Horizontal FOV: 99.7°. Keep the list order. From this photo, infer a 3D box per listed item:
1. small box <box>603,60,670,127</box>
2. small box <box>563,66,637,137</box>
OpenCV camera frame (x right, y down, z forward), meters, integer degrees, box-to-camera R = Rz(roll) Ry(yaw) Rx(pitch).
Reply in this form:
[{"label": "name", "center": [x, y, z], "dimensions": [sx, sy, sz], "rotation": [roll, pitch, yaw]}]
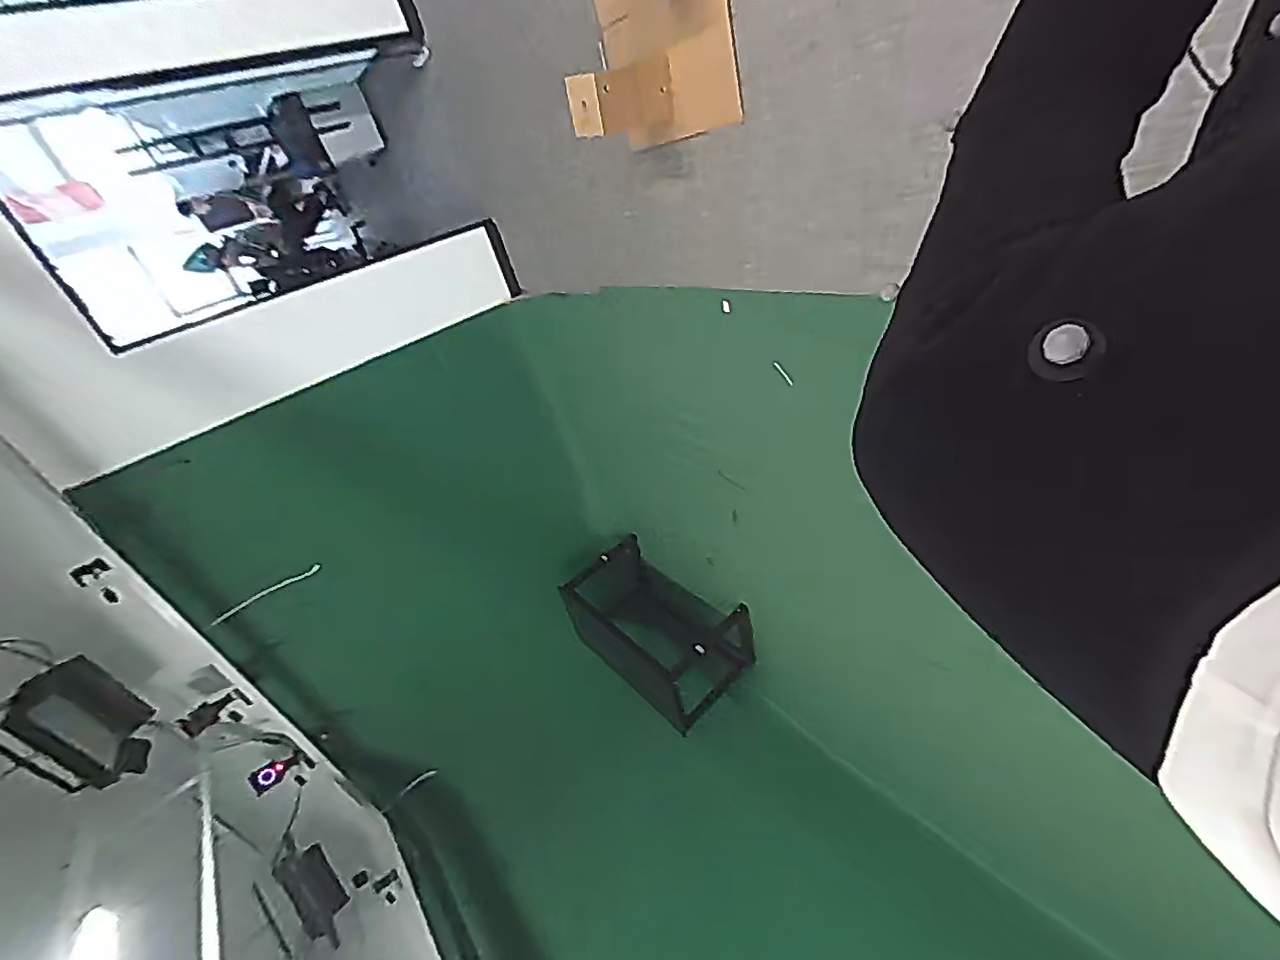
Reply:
[{"label": "small box", "center": [-0.013, -1.367, 1.912], "dimensions": [0.168, 0.176, 0.179], "rotation": [31, 144, 40]}, {"label": "small box", "center": [-0.131, -1.283, 1.832], "dimensions": [0.168, 0.176, 0.179], "rotation": [31, 145, 41]}]
